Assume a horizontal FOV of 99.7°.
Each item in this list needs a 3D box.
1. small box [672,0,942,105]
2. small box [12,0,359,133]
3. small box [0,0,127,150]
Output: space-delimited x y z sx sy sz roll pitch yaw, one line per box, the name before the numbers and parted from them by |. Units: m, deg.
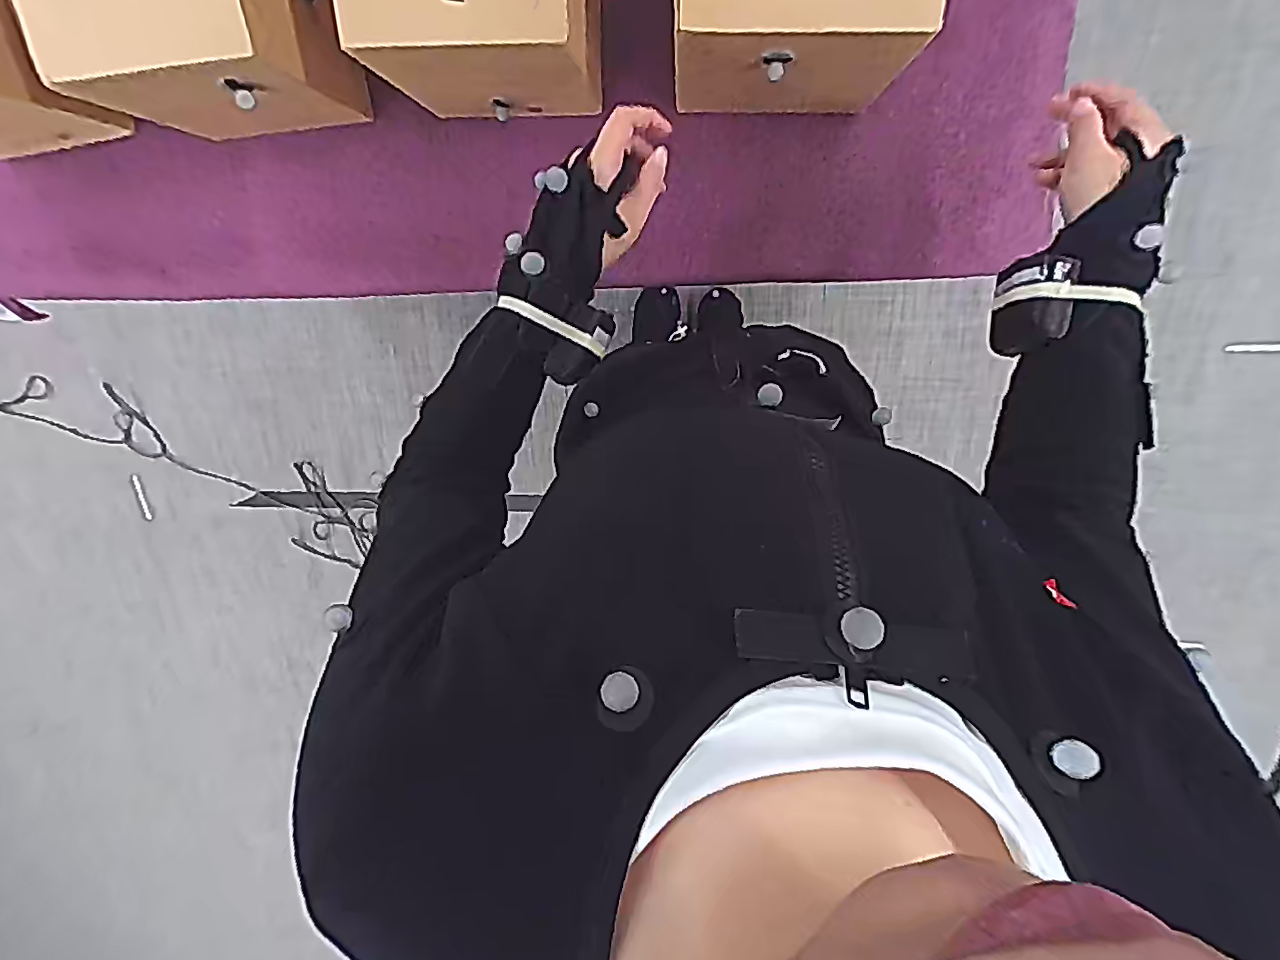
small box | 0.116 -0.404 0.407 0.179 0.176 0.168 3 109 2
small box | -0.362 -0.407 0.445 0.179 0.176 0.168 -3 109 6
small box | -0.618 -0.405 0.468 0.168 0.176 0.179 -6 109 7
